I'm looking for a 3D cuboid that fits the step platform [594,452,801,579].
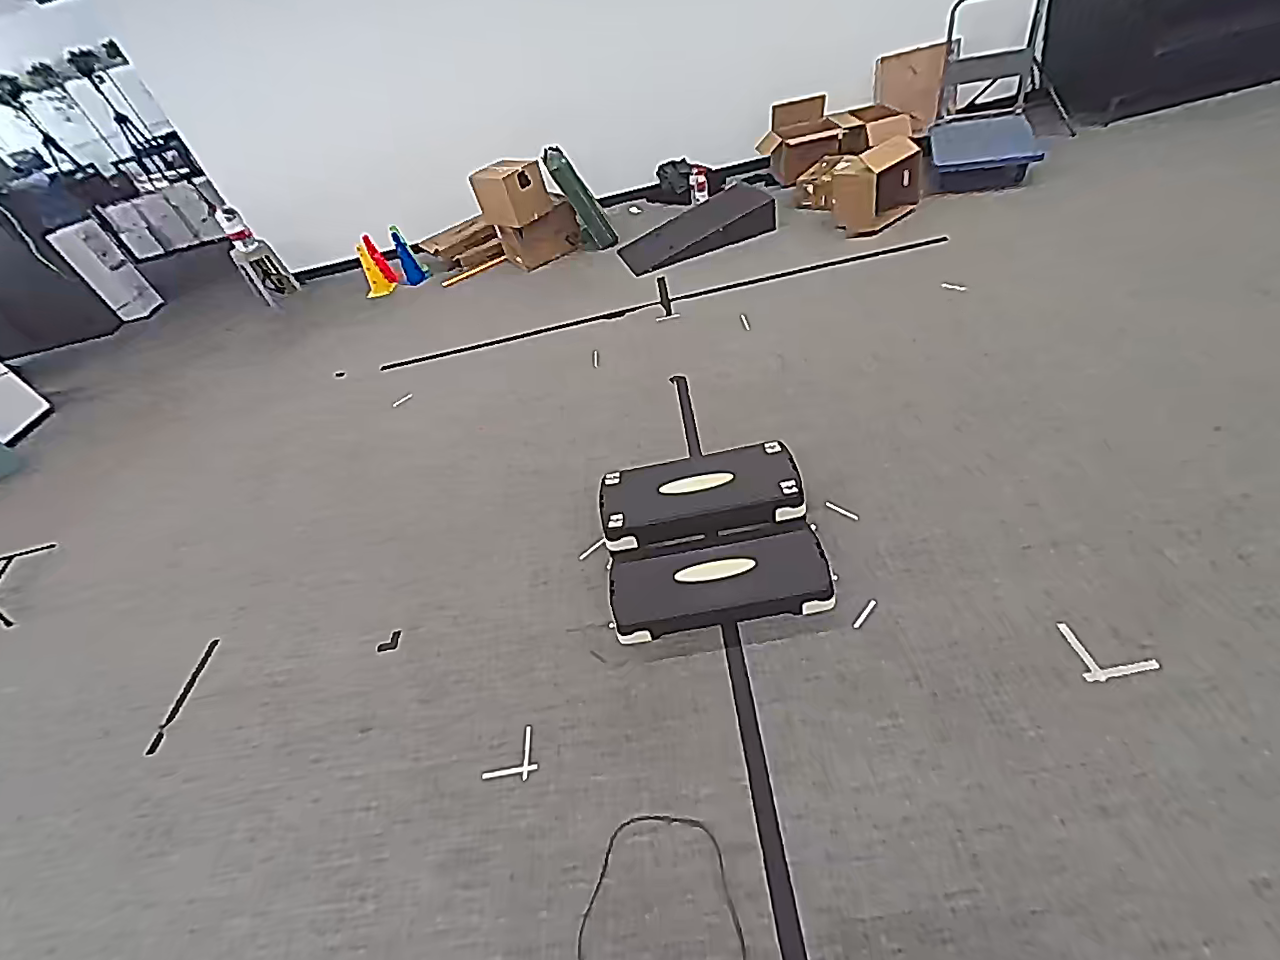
[{"bbox_3d":[0.186,0.116,1.843,0.684,0.204,0.286,-12,44,4],"label":"step platform"}]
